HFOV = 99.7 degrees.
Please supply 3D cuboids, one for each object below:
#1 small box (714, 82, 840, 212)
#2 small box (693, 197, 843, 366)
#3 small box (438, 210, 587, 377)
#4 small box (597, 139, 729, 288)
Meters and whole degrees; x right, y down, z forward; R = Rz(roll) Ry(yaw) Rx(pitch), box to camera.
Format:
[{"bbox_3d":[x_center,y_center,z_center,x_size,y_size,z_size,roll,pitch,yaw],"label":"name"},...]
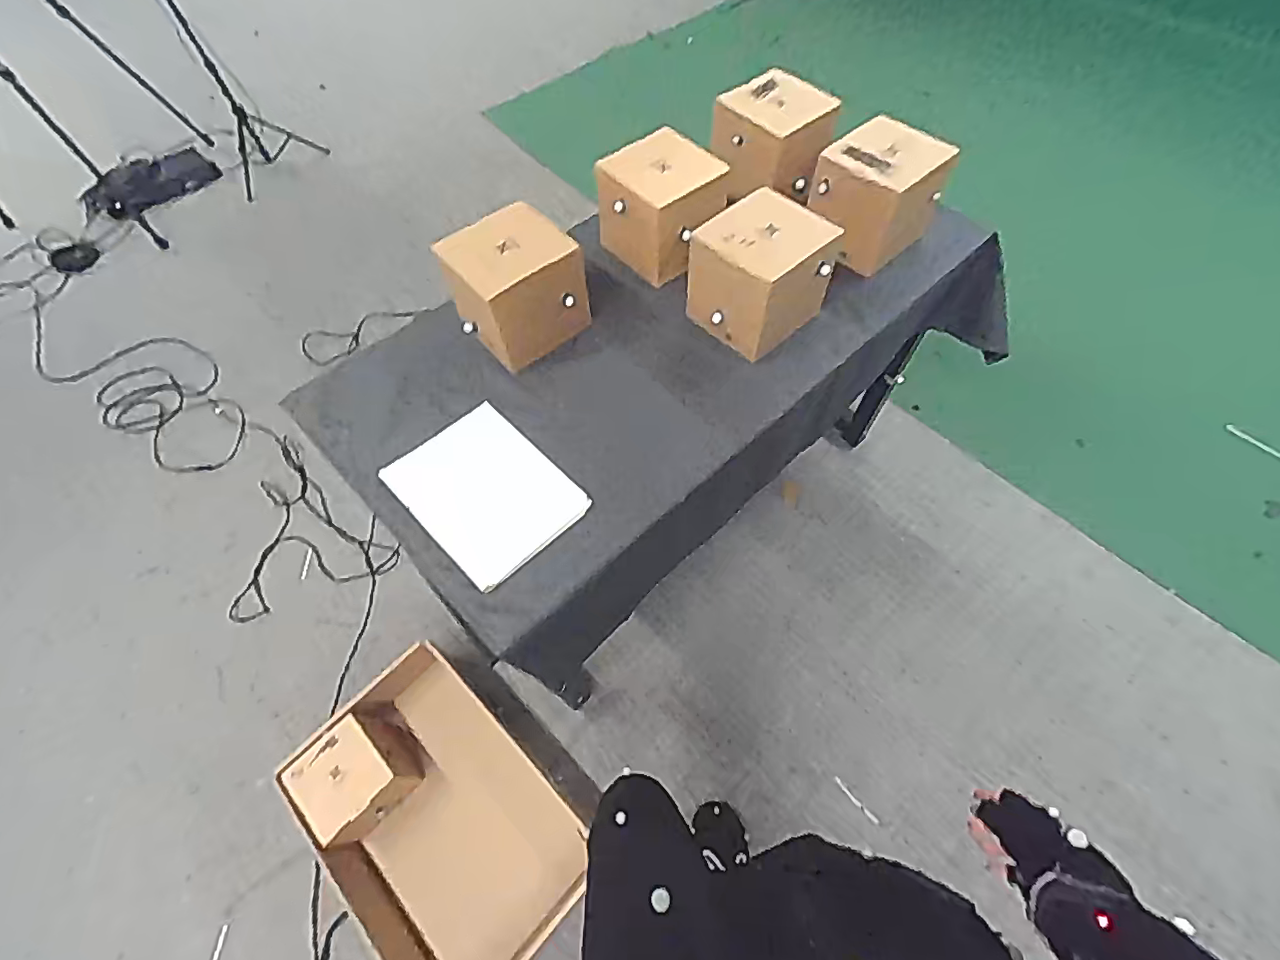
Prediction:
[{"bbox_3d":[0.263,-0.656,1.094,0.168,0.176,0.179,-37,66,-17],"label":"small box"},{"bbox_3d":[0.201,-0.329,0.907,0.179,0.176,0.168,-38,64,-18],"label":"small box"},{"bbox_3d":[-0.203,-0.311,0.914,0.179,0.176,0.168,-37,65,-19],"label":"small box"},{"bbox_3d":[0.043,-0.487,1.009,0.168,0.176,0.179,-36,65,-17],"label":"small box"}]
